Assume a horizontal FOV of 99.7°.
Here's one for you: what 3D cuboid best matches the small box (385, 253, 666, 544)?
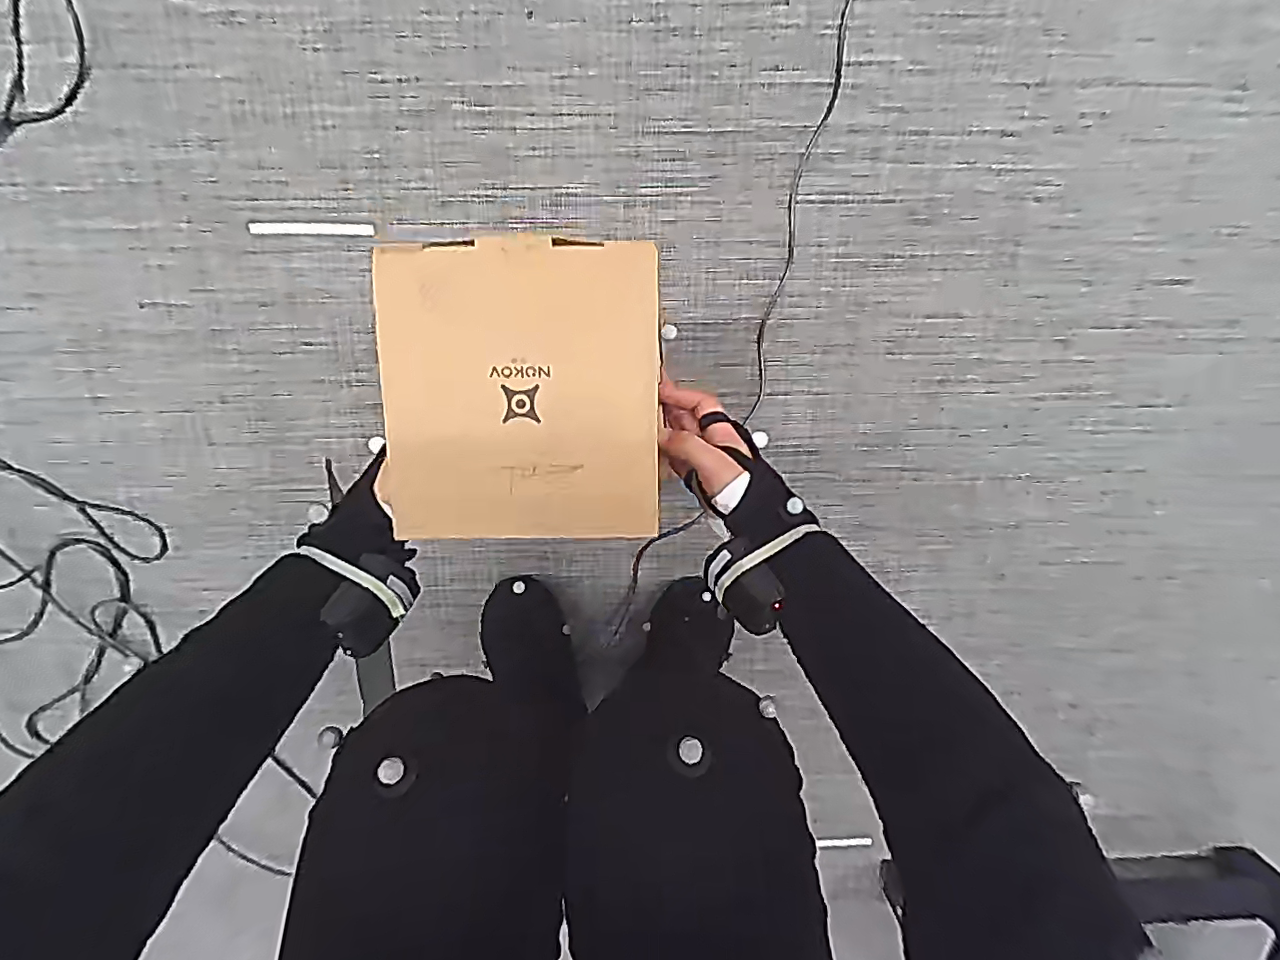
[{"bbox_3d":[-0.067,-0.060,0.407,0.168,0.176,0.179,-1,101,1],"label":"small box"}]
